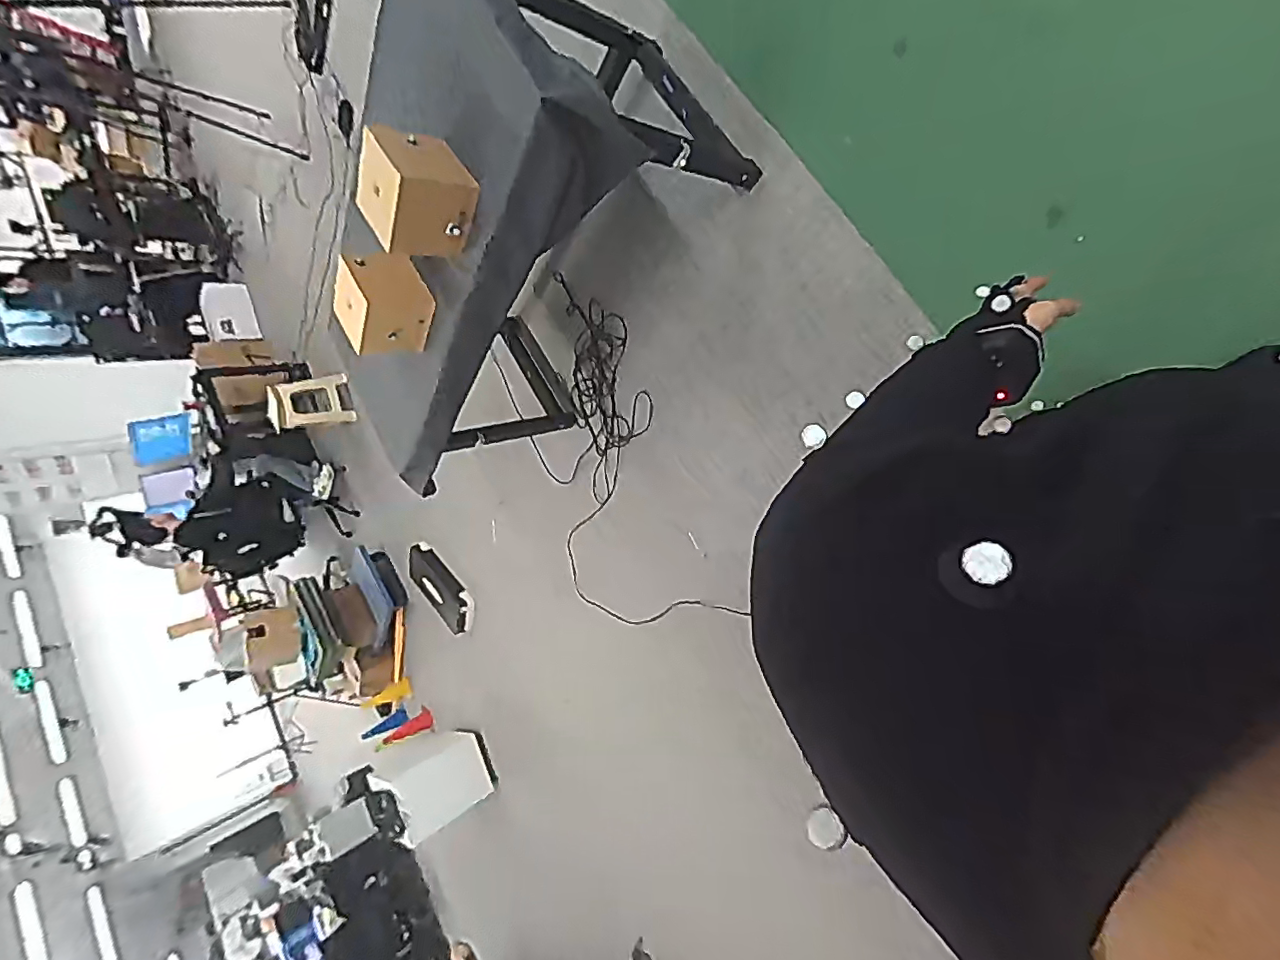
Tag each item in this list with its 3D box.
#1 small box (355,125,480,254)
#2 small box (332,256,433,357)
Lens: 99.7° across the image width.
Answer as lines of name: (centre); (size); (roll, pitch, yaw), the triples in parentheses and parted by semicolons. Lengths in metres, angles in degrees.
small box: (-0.459, -0.584, 1.111); (0.179, 0.176, 0.168); (53, 134, 19)
small box: (-0.634, -0.428, 1.336); (0.179, 0.176, 0.168); (55, 134, 19)
